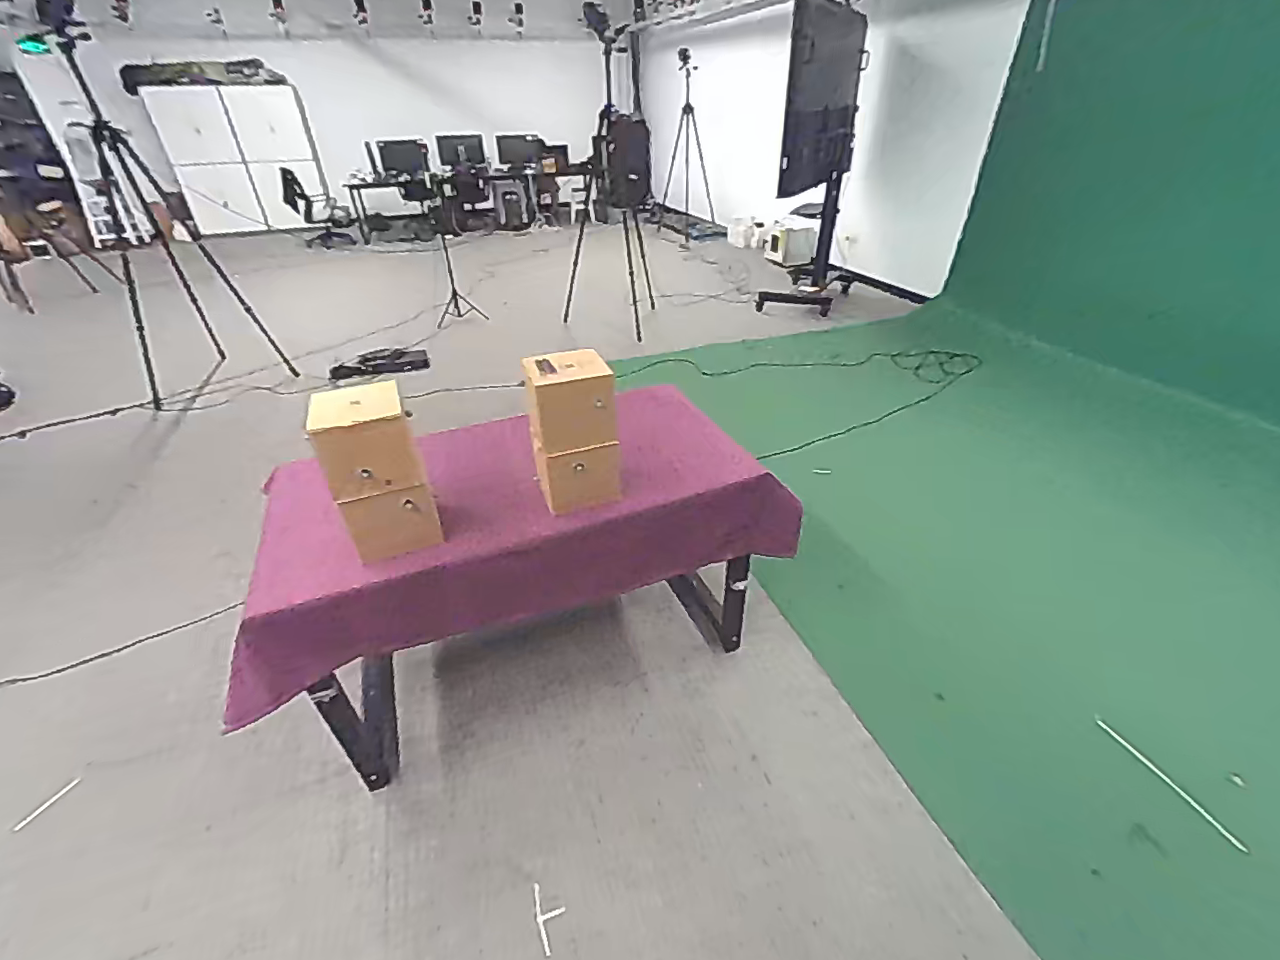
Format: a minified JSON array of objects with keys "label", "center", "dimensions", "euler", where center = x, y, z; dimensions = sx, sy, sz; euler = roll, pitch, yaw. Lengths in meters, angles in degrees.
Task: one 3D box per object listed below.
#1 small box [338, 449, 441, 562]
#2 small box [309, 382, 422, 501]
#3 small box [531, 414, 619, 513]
[{"label":"small box","center":[-0.552,0.055,1.208],"dimensions":[0.179,0.176,0.168],"euler":[-15,36,-19]},{"label":"small box","center":[-0.560,-0.081,1.118],"dimensions":[0.168,0.176,0.179],"euler":[-15,38,-19]},{"label":"small box","center":[-0.157,-0.040,1.328],"dimensions":[0.179,0.176,0.168],"euler":[-13,36,-17]}]
